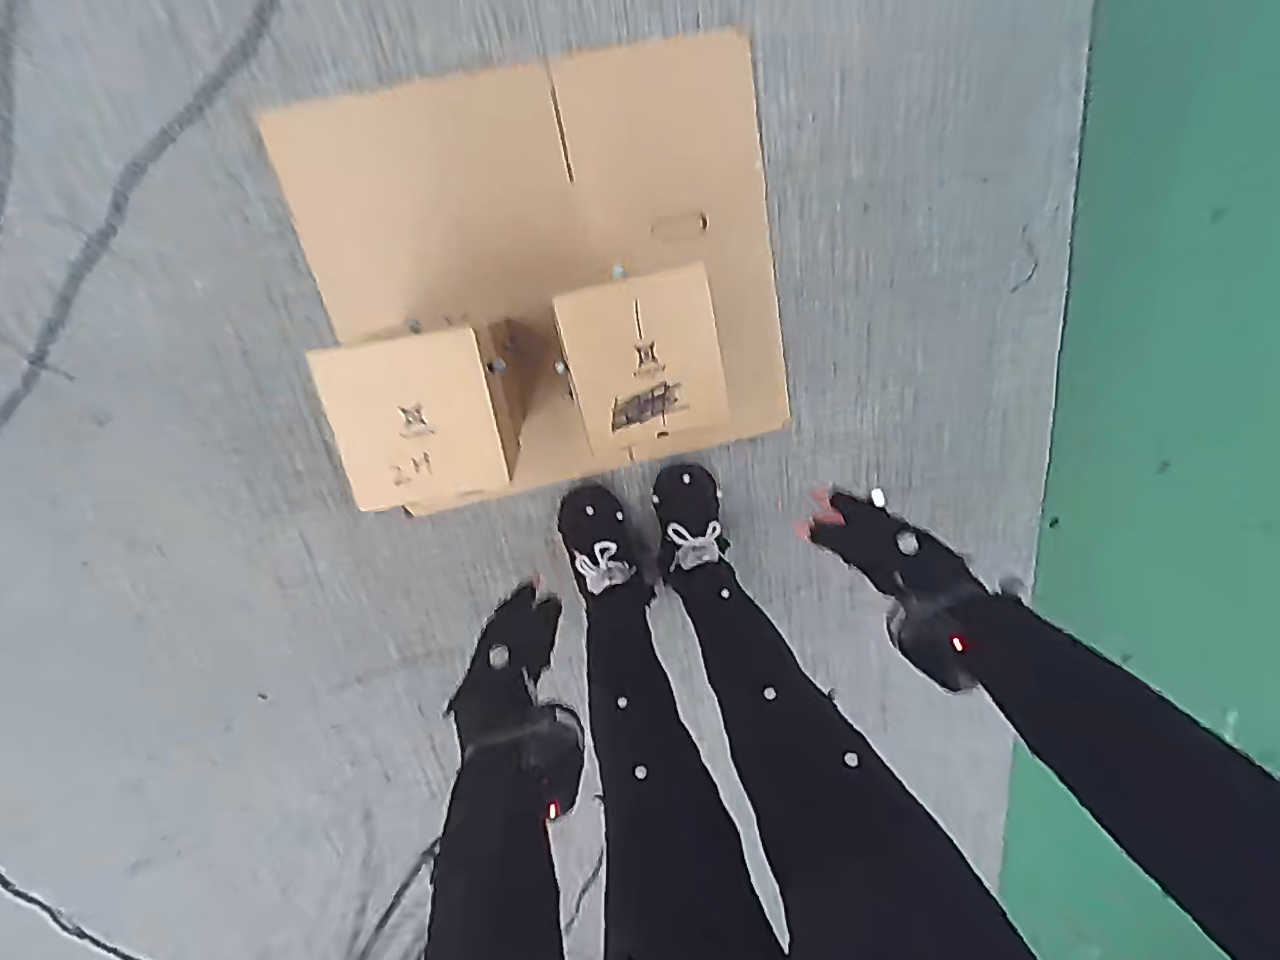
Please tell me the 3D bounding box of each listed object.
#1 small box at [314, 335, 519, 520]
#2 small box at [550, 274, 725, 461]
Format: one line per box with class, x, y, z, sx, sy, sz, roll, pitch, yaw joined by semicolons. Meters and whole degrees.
small box;-0.246;-0.074;0.646;0.168;0.176;0.179;-11;109;-5
small box;-0.008;-0.145;0.666;0.168;0.176;0.179;-15;110;-5
